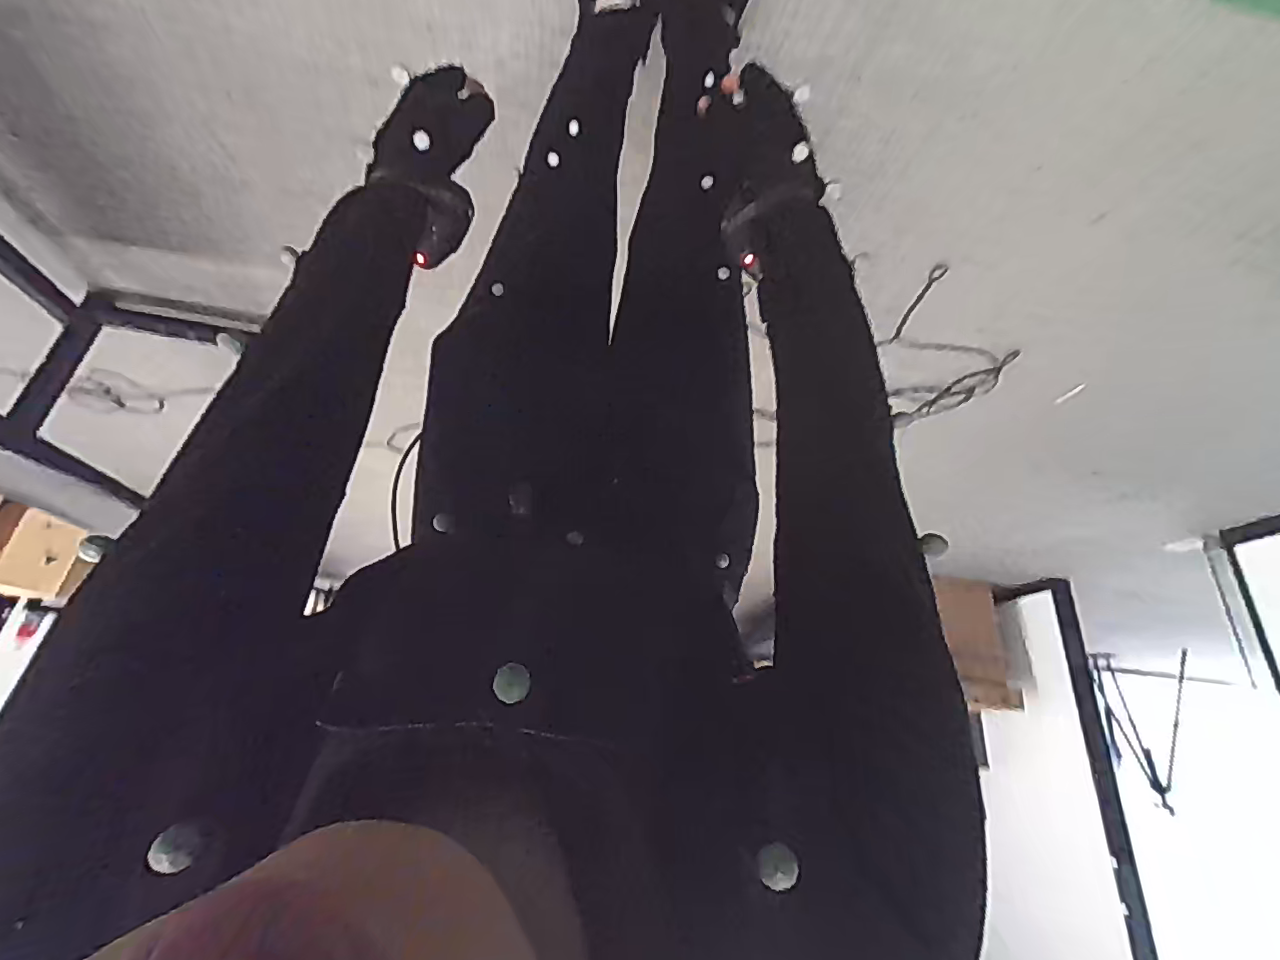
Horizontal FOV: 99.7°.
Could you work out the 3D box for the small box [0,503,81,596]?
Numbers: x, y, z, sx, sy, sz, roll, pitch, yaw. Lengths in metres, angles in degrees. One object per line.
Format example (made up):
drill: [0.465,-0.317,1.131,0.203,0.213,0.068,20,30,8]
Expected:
small box: [-1.379,0.144,1.167,0.179,0.176,0.168,9,156,-5]
